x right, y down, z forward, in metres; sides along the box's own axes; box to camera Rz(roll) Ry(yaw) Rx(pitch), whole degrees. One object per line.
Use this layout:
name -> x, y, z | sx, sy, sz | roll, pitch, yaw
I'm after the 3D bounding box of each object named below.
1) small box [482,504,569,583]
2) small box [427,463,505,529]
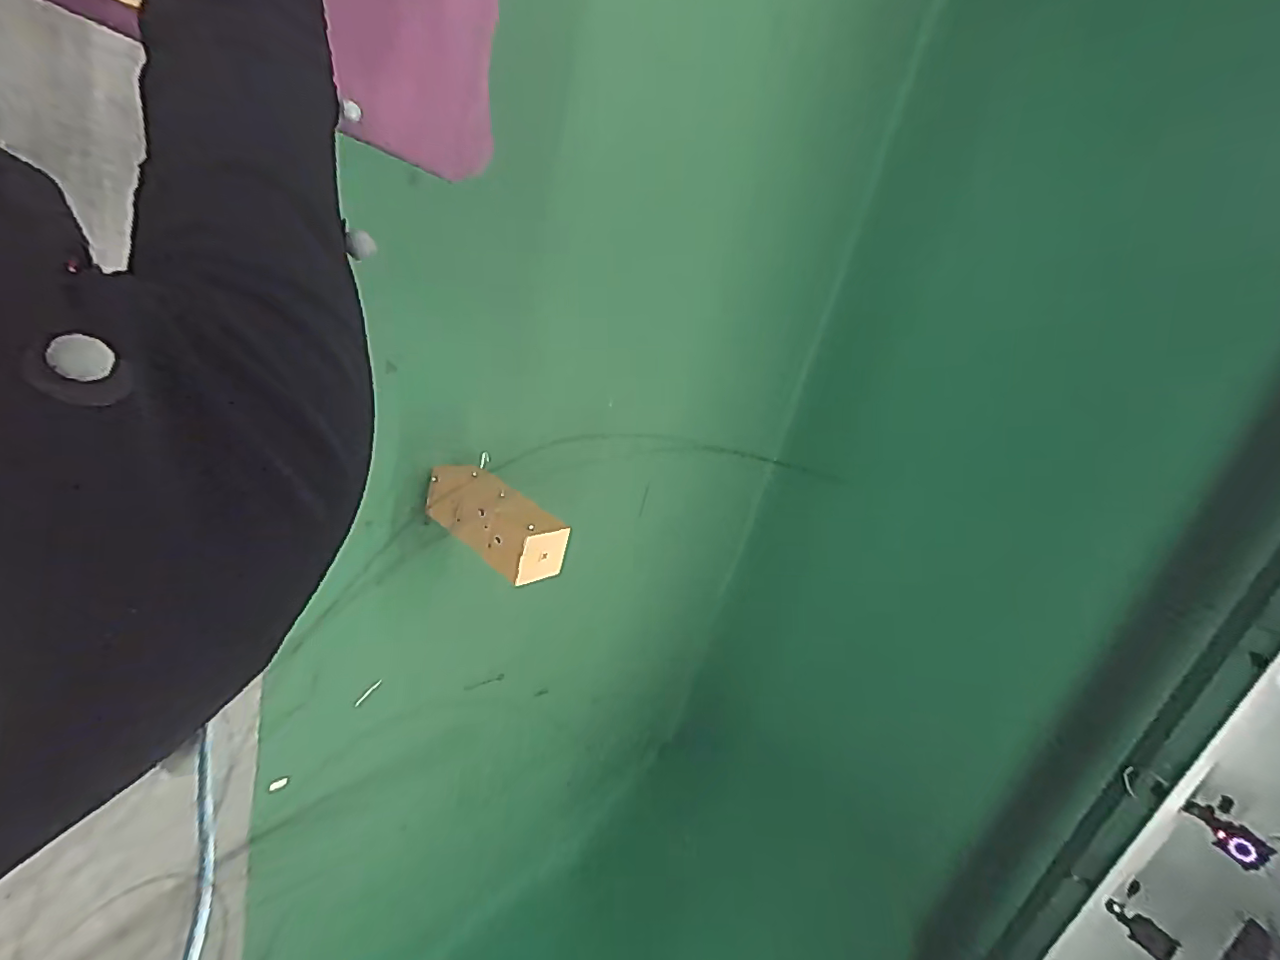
small box -> -0.349, 0.185, 1.644 | 0.179, 0.176, 0.168 | -8, 121, -51
small box -> -0.590, 0.050, 1.820 | 0.179, 0.176, 0.168 | -5, 118, -52
